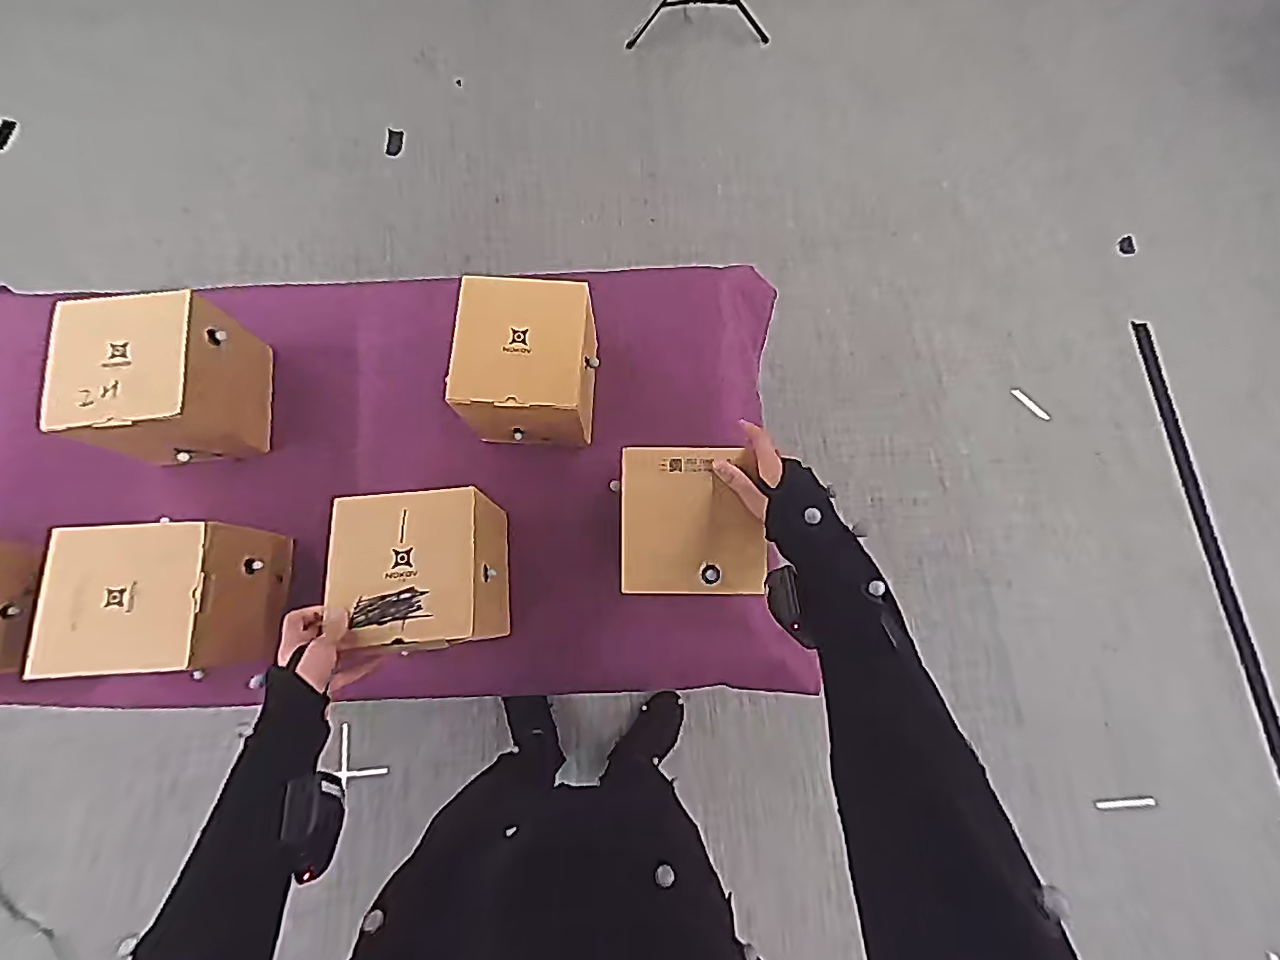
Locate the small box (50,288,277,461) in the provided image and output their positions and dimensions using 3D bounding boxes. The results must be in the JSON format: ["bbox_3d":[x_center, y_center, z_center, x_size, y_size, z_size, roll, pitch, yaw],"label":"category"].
[{"bbox_3d":[-0.638,-0.138,0.751,0.168,0.176,0.179,-6,77,-2],"label":"small box"}]

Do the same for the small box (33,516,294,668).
[{"bbox_3d":[-0.574,0.141,0.681,0.179,0.176,0.168,-2,76,-2],"label":"small box"}]

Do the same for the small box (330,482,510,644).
[{"bbox_3d":[-0.266,0.111,0.693,0.168,0.176,0.179,-4,75,-2],"label":"small box"}]

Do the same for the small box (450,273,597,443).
[{"bbox_3d":[-0.151,-0.164,0.766,0.168,0.176,0.179,3,78,0],"label":"small box"}]

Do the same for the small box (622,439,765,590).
[{"bbox_3d":[0.062,0.043,0.696,0.168,0.179,0.176,0,86,0],"label":"small box"}]
